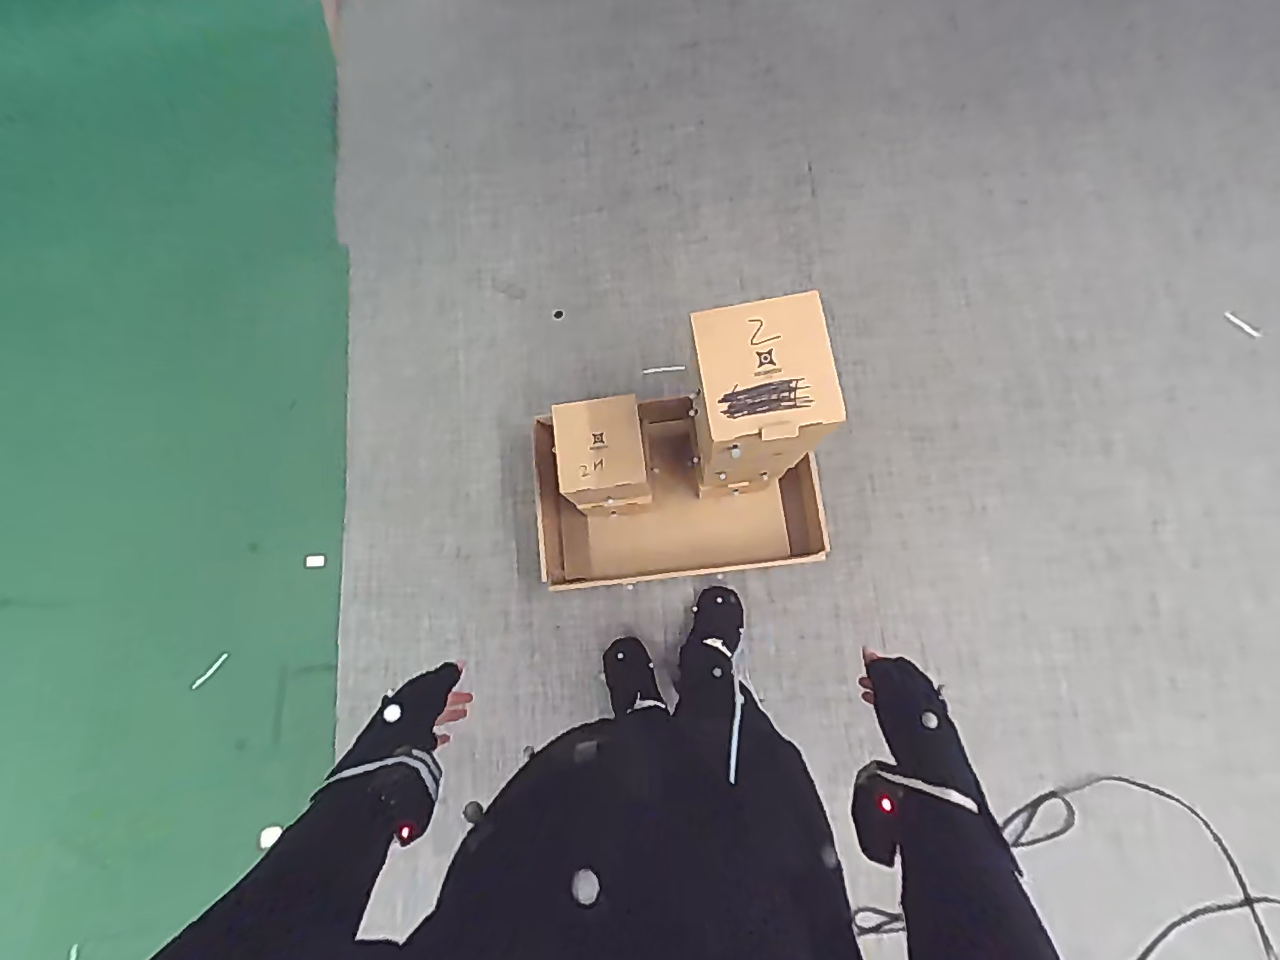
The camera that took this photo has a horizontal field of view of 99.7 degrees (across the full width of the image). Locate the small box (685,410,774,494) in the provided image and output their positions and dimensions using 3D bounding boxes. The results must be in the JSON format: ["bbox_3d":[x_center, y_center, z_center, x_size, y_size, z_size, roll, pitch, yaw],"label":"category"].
[{"bbox_3d":[0.202,-0.069,1.236,0.168,0.176,0.179,-11,79,5],"label":"small box"}]

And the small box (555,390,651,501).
[{"bbox_3d":[-0.070,-0.063,1.090,0.168,0.176,0.179,-8,80,3],"label":"small box"}]

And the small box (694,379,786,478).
[{"bbox_3d":[0.198,-0.102,1.057,0.168,0.176,0.179,-7,80,5],"label":"small box"}]

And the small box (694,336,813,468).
[{"bbox_3d":[0.182,-0.119,0.912,0.168,0.176,0.179,-6,80,4],"label":"small box"}]
